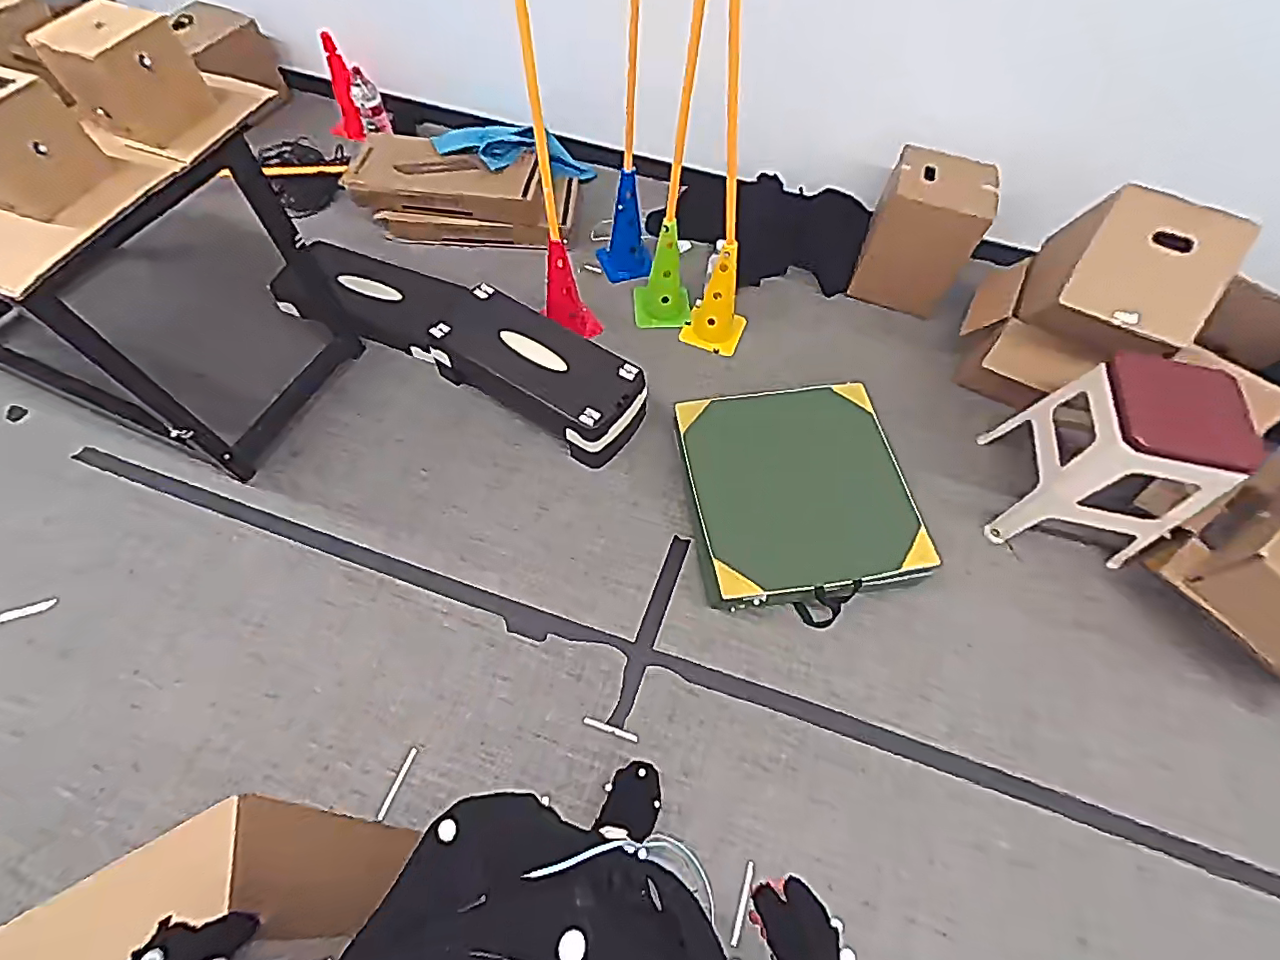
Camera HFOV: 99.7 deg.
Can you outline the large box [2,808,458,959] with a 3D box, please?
[{"bbox_3d":[-0.470,0.667,0.666,0.320,0.408,0.320,-28,48,-4],"label":"large box"}]
